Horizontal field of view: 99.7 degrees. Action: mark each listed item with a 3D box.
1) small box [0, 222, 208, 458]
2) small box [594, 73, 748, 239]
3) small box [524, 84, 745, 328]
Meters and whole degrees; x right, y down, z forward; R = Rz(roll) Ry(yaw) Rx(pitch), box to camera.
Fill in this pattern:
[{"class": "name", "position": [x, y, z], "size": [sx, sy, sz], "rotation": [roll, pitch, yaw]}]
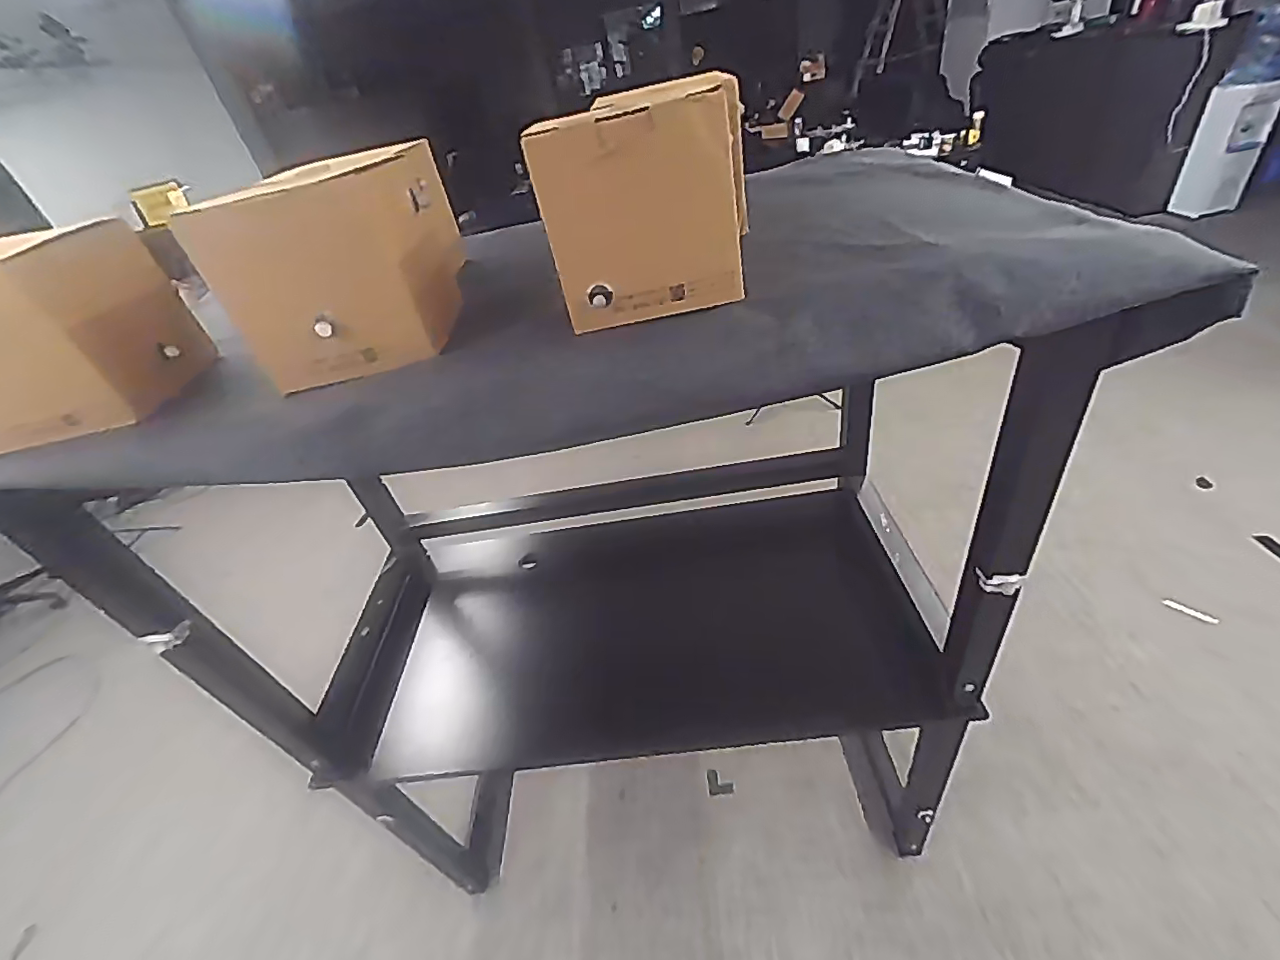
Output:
[{"class": "small box", "position": [-0.609, -0.148, 0.564], "size": [0.168, 0.176, 0.179], "rotation": [-13, 38, 0]}, {"class": "small box", "position": [0.042, -0.405, 0.699], "size": [0.168, 0.176, 0.179], "rotation": [-9, 39, 6]}, {"class": "small box", "position": [0.001, -0.260, 0.525], "size": [0.168, 0.176, 0.179], "rotation": [-10, 36, 5]}]
